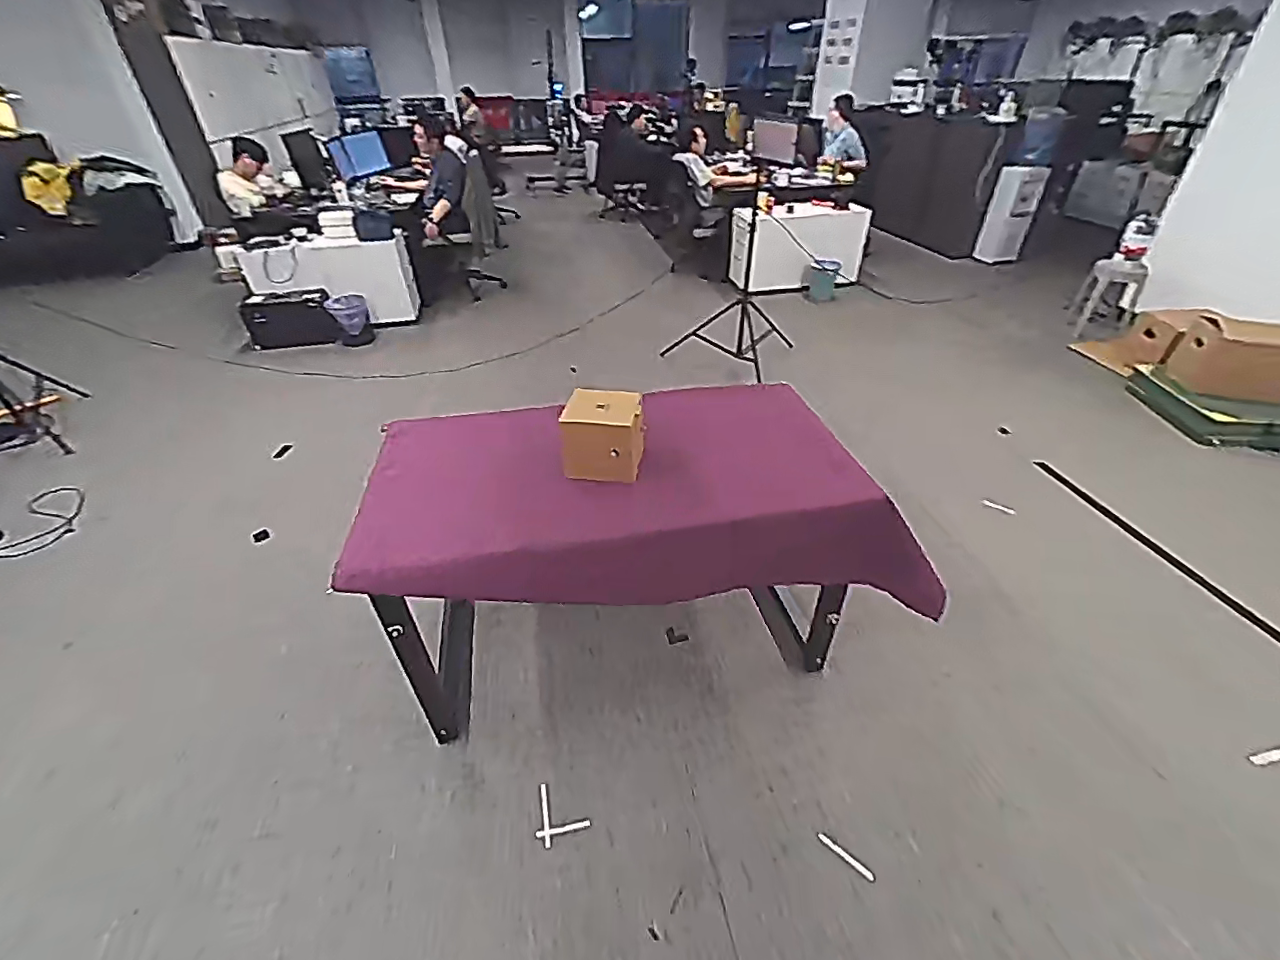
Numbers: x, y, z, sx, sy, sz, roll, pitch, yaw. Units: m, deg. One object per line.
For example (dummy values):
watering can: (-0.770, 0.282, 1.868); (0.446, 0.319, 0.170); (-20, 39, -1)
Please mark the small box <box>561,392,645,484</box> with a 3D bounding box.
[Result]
small box: (-0.083, -0.103, 1.352); (0.179, 0.176, 0.168); (3, 36, 8)
